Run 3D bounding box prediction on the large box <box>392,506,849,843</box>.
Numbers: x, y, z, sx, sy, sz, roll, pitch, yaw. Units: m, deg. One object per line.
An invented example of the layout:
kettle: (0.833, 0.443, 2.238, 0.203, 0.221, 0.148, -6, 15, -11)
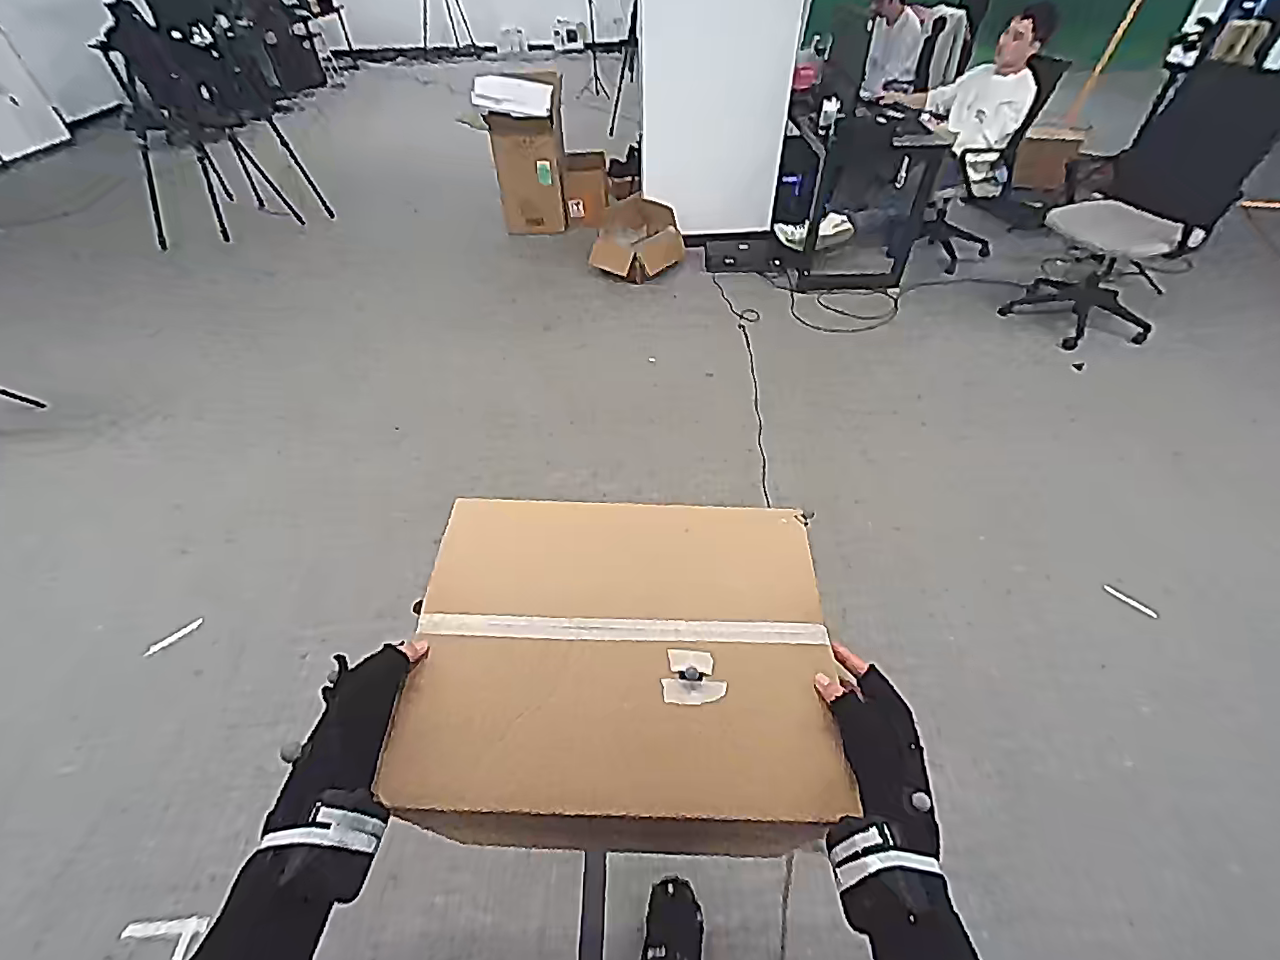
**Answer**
large box: (-0.019, 0.248, 0.670, 0.408, 0.320, 0.320, 2, 52, 0)
